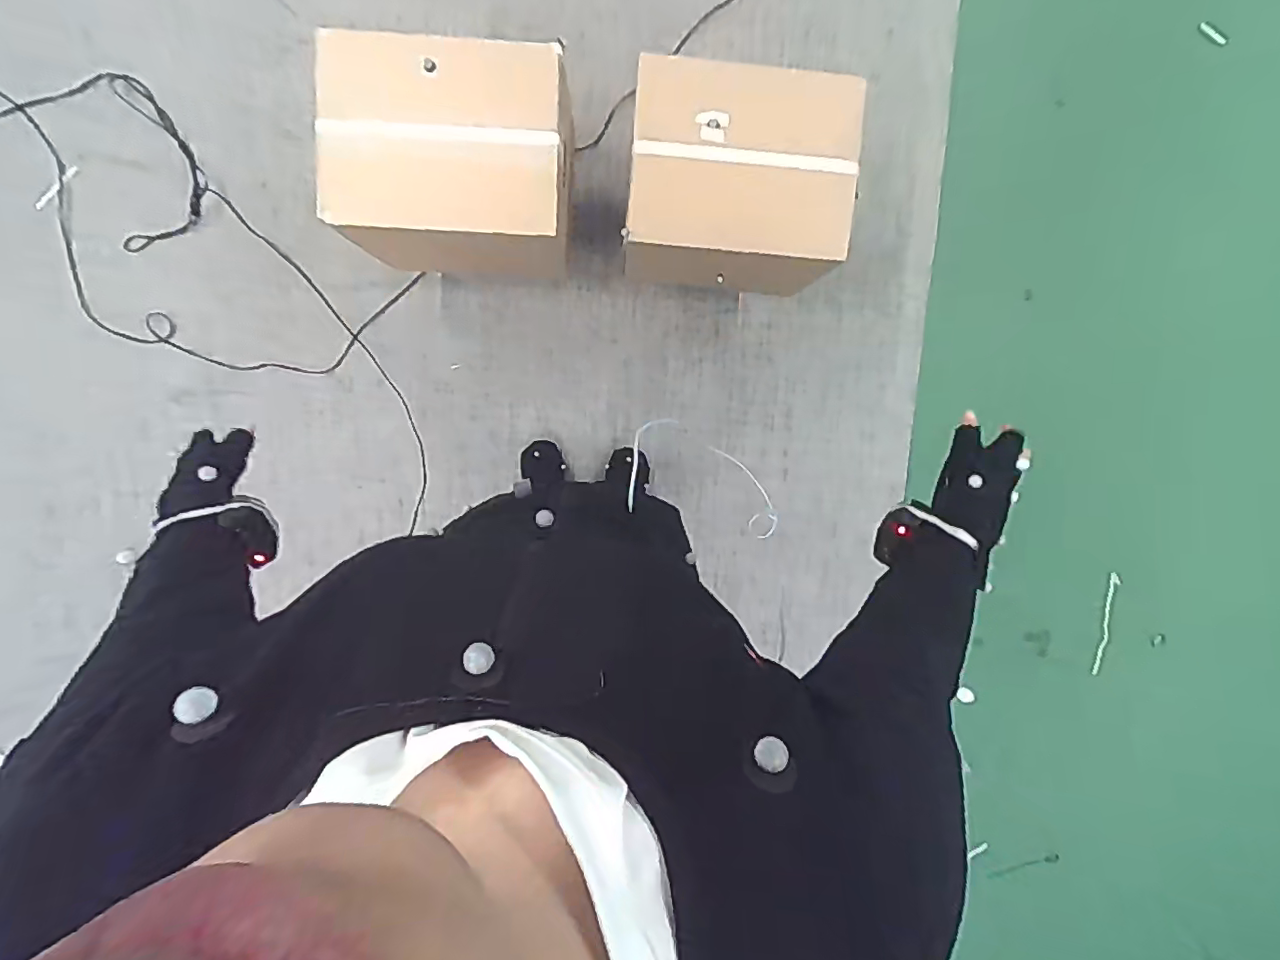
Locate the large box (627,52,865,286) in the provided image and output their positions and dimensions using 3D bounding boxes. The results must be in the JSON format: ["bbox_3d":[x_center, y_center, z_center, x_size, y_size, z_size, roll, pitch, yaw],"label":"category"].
[{"bbox_3d":[0.186,-0.599,1.111,0.408,0.320,0.320,5,97,-3],"label":"large box"}]
